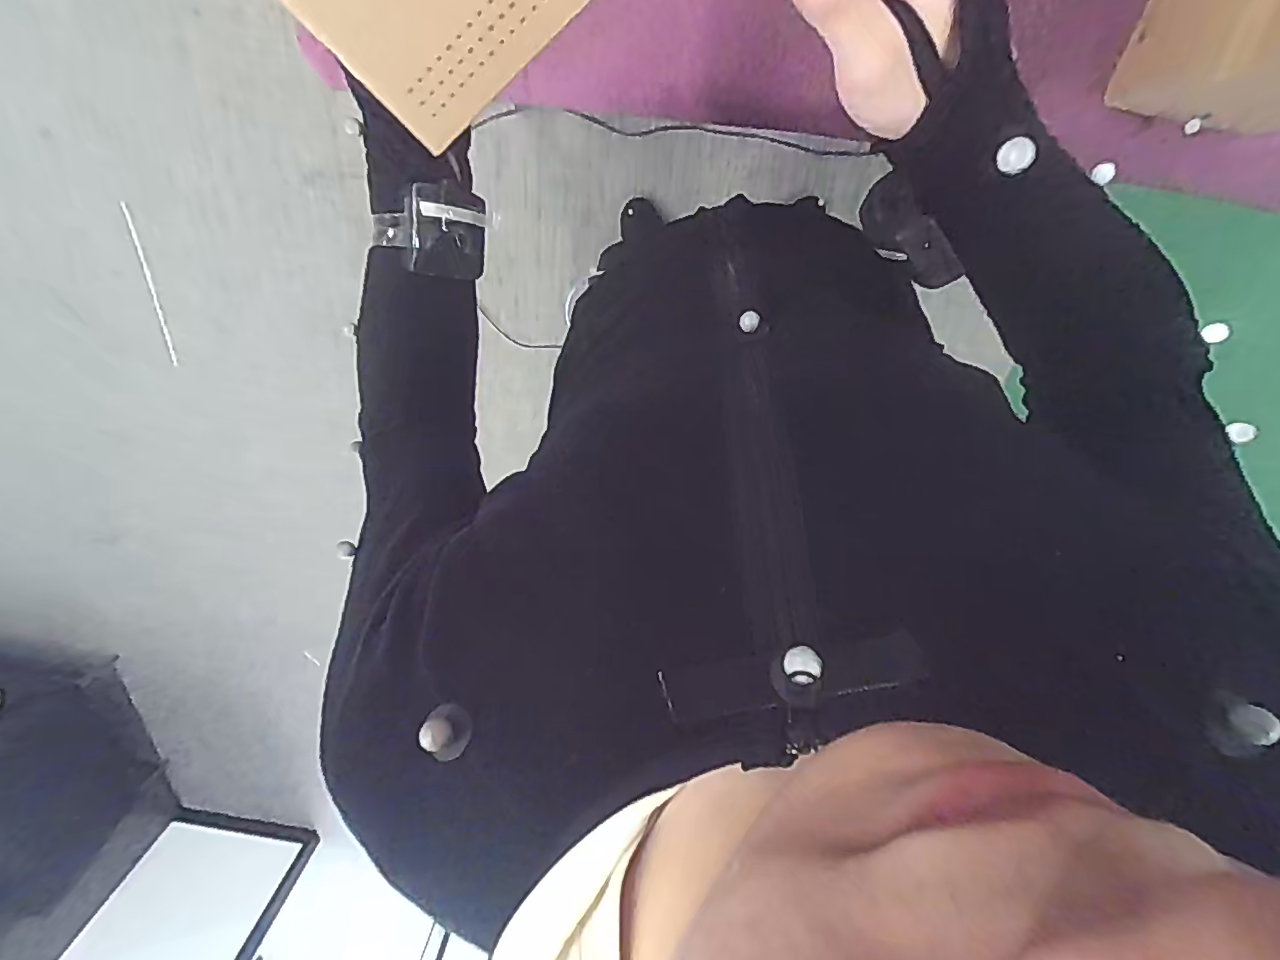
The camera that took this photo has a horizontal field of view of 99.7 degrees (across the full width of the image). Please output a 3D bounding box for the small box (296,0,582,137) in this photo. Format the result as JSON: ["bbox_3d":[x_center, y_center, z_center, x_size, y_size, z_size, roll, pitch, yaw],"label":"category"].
[{"bbox_3d":[-0.093,-0.299,0.222,0.179,0.168,0.176,-32,144,19],"label":"small box"}]
